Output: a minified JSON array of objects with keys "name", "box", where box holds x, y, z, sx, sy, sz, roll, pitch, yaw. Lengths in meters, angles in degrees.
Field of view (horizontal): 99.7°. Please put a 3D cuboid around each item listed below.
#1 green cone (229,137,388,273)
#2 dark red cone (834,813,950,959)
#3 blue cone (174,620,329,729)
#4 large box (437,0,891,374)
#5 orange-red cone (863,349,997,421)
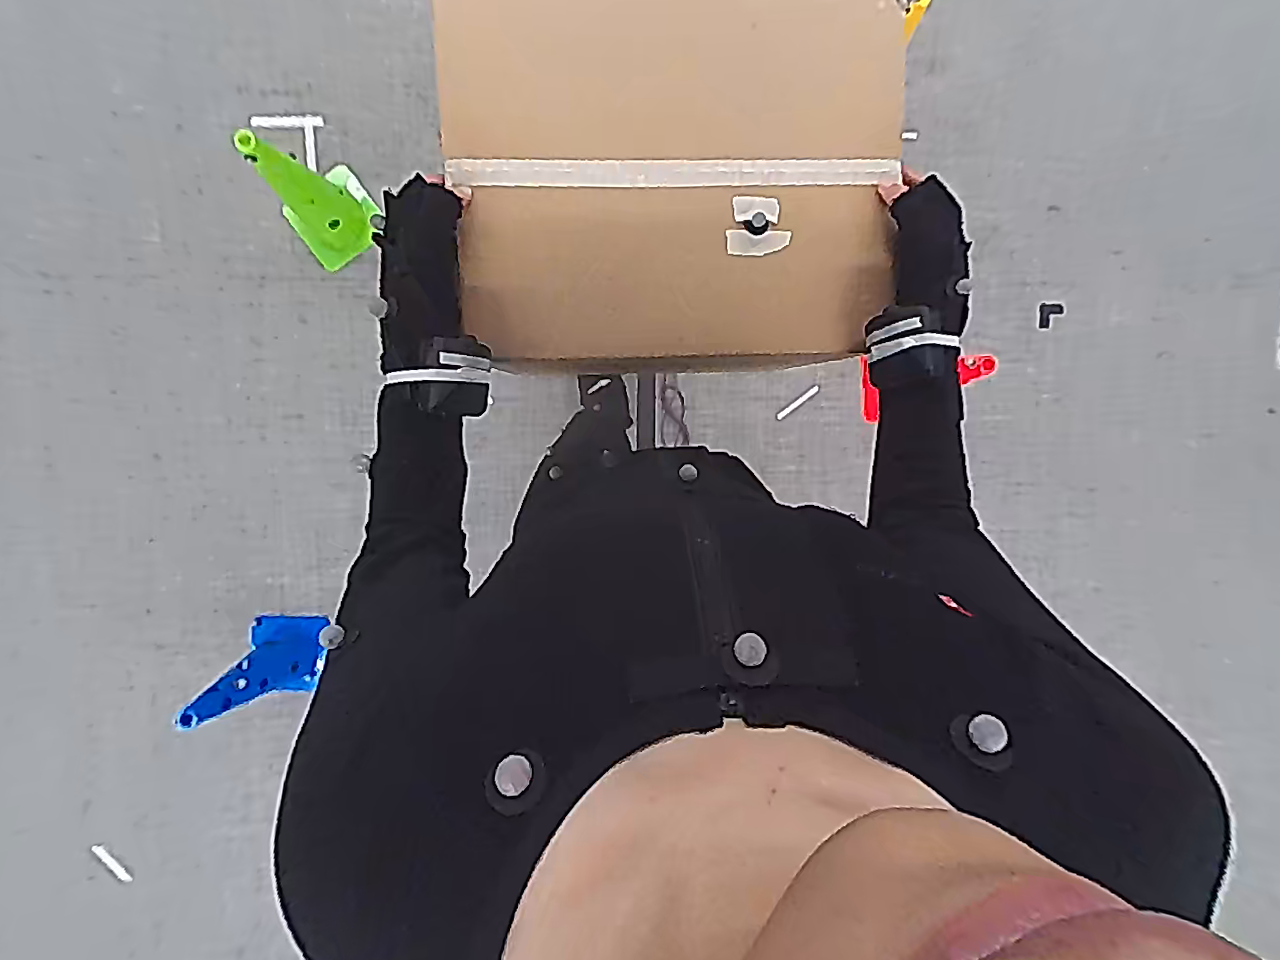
[{"name":"green cone","box":[-0.761,-0.647,1.198,0.202,0.368,0.200,-38,94,1]},{"name":"dark red cone","box":[0.654,1.044,1.353,0.201,0.394,0.202,6,93,-3]},{"name":"blue cone","box":[-0.913,0.473,1.266,0.192,0.380,0.193,3,93,-3]},{"name":"large box","box":[0.018,-0.298,0.633,0.408,0.320,0.320,-3,99,-5]},{"name":"orange-red cone","box":[0.721,-0.254,1.312,0.198,0.360,0.199,-3,92,-4]}]
